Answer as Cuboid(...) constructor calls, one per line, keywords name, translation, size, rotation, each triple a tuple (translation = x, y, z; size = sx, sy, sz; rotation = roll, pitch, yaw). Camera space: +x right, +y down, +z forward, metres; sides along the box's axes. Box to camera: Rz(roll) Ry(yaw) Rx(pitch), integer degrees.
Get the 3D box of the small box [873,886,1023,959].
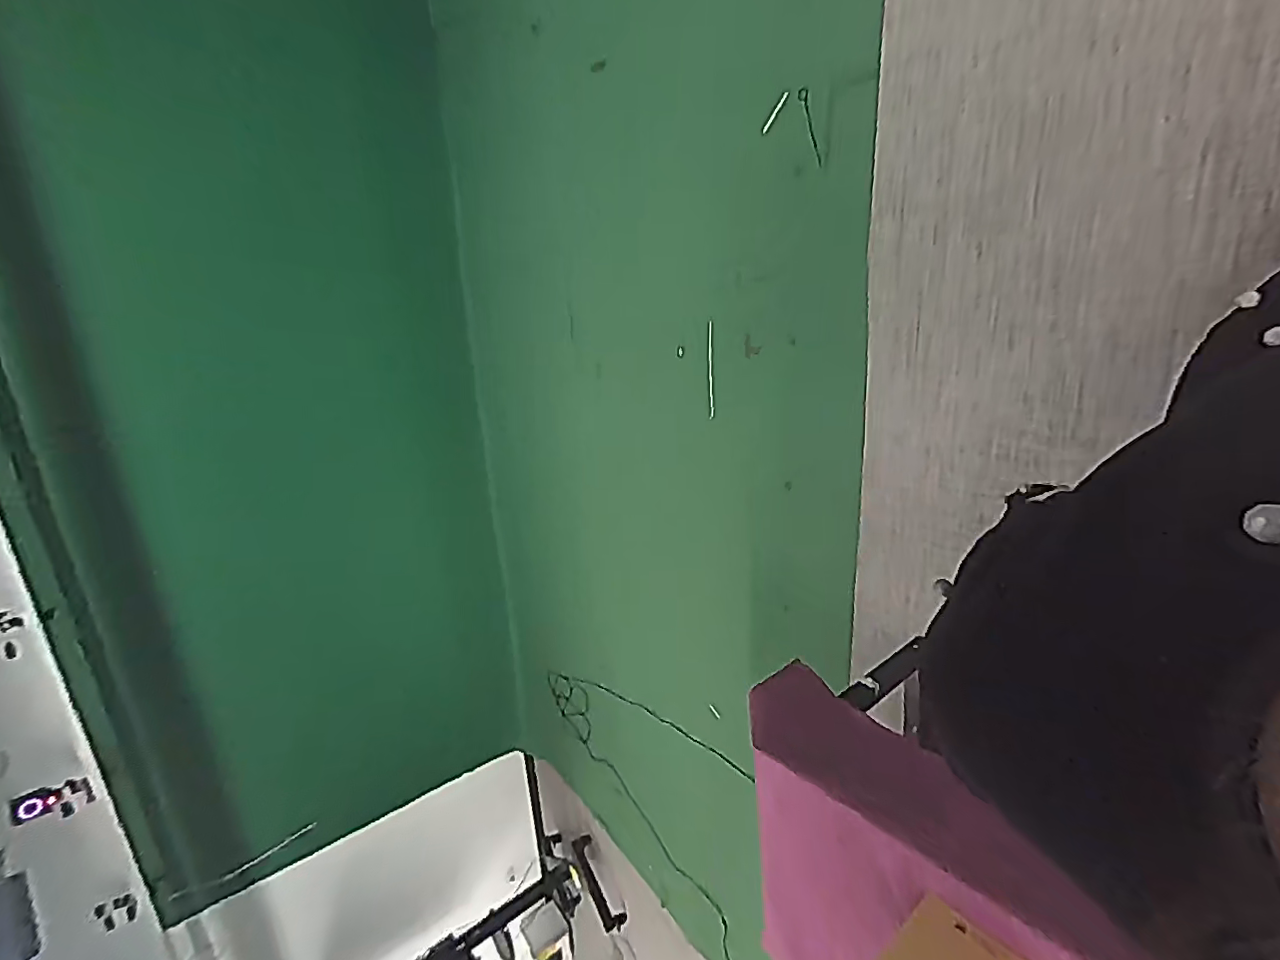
Cuboid(name="small box", translation=(0.492, 0.817, 0.860), size=(0.168, 0.176, 0.179), rotation=(11, 112, 51))
